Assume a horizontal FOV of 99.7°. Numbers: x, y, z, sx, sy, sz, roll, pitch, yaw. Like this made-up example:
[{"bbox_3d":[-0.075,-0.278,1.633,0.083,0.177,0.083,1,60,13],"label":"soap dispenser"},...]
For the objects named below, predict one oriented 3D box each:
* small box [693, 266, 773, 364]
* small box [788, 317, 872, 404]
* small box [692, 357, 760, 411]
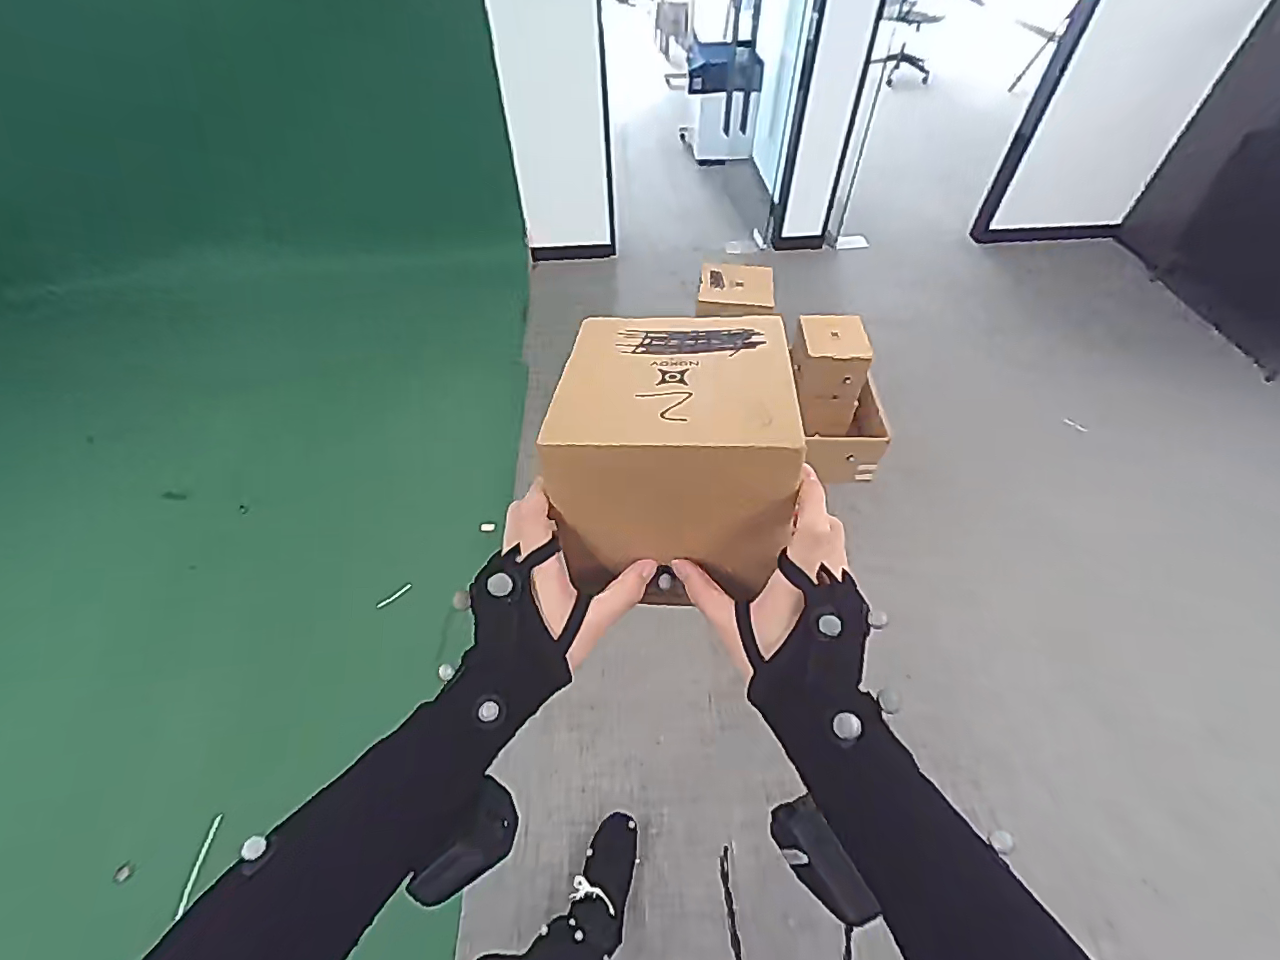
[{"bbox_3d":[0.227,-0.406,1.338,0.179,0.176,0.168,6,52,5],"label":"small box"},{"bbox_3d":[0.510,-0.322,1.475,0.168,0.176,0.179,2,51,2],"label":"small box"},{"bbox_3d":[0.232,-0.306,1.469,0.168,0.176,0.179,4,51,4],"label":"small box"}]
